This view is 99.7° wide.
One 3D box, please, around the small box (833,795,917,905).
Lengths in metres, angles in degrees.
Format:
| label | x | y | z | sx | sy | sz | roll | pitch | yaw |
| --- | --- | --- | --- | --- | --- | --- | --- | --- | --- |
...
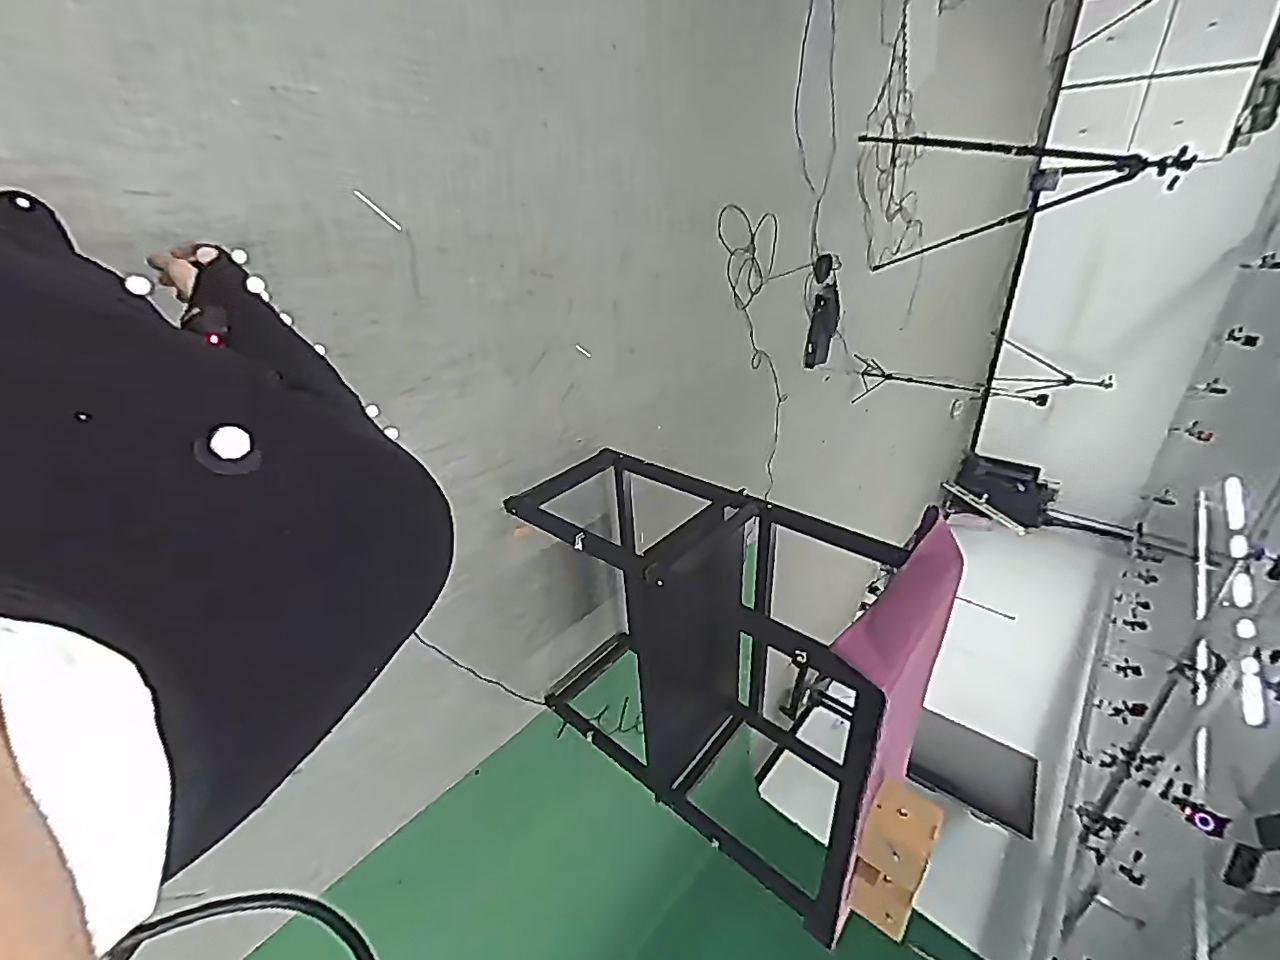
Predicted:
| label | x | y | z | sx | sy | sz | roll | pitch | yaw |
| --- | --- | --- | --- | --- | --- | --- | --- | --- | --- |
| small box | 0.674 | 1.053 | 1.559 | 0.168 | 0.176 | 0.179 | -28 | 127 | -43 |

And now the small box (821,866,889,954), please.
| label | x | y | z | sx | sy | sz | roll | pitch | yaw |
| --- | --- | --- | --- | --- | --- | --- | --- | --- | --- |
| small box | 0.691 | 1.321 | 1.713 | 0.168 | 0.176 | 0.179 | -26 | 126 | -44 |
